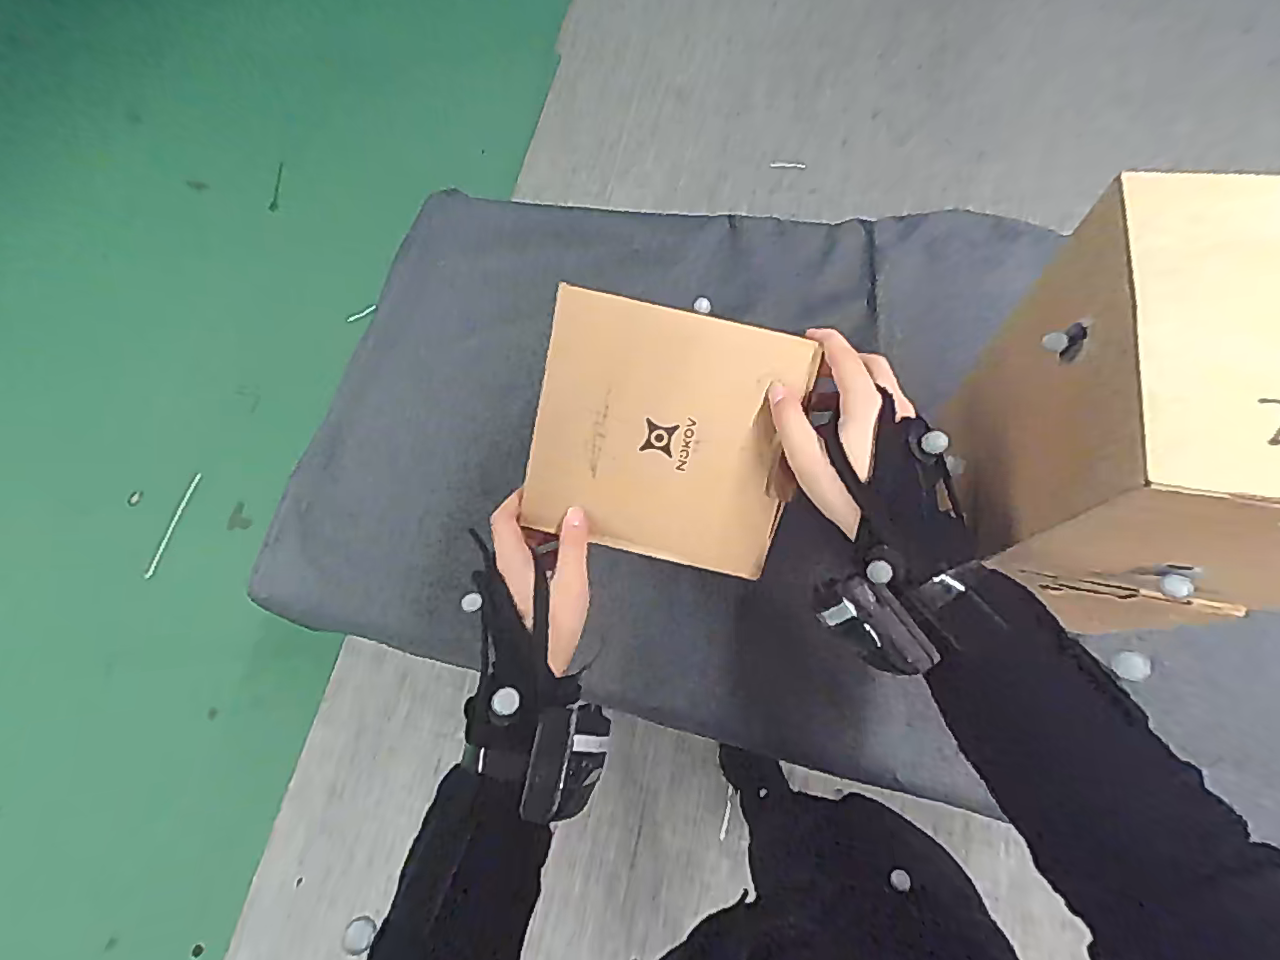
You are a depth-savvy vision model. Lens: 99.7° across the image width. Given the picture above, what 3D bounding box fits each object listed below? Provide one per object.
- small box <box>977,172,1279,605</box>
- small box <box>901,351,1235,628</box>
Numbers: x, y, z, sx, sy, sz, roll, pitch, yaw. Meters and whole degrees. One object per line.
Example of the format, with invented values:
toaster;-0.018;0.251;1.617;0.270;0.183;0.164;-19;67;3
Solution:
small box;0.316;-0.039;0.309;0.168;0.176;0.179;8;72;13
small box;0.338;0.019;0.462;0.168;0.176;0.179;12;72;13
